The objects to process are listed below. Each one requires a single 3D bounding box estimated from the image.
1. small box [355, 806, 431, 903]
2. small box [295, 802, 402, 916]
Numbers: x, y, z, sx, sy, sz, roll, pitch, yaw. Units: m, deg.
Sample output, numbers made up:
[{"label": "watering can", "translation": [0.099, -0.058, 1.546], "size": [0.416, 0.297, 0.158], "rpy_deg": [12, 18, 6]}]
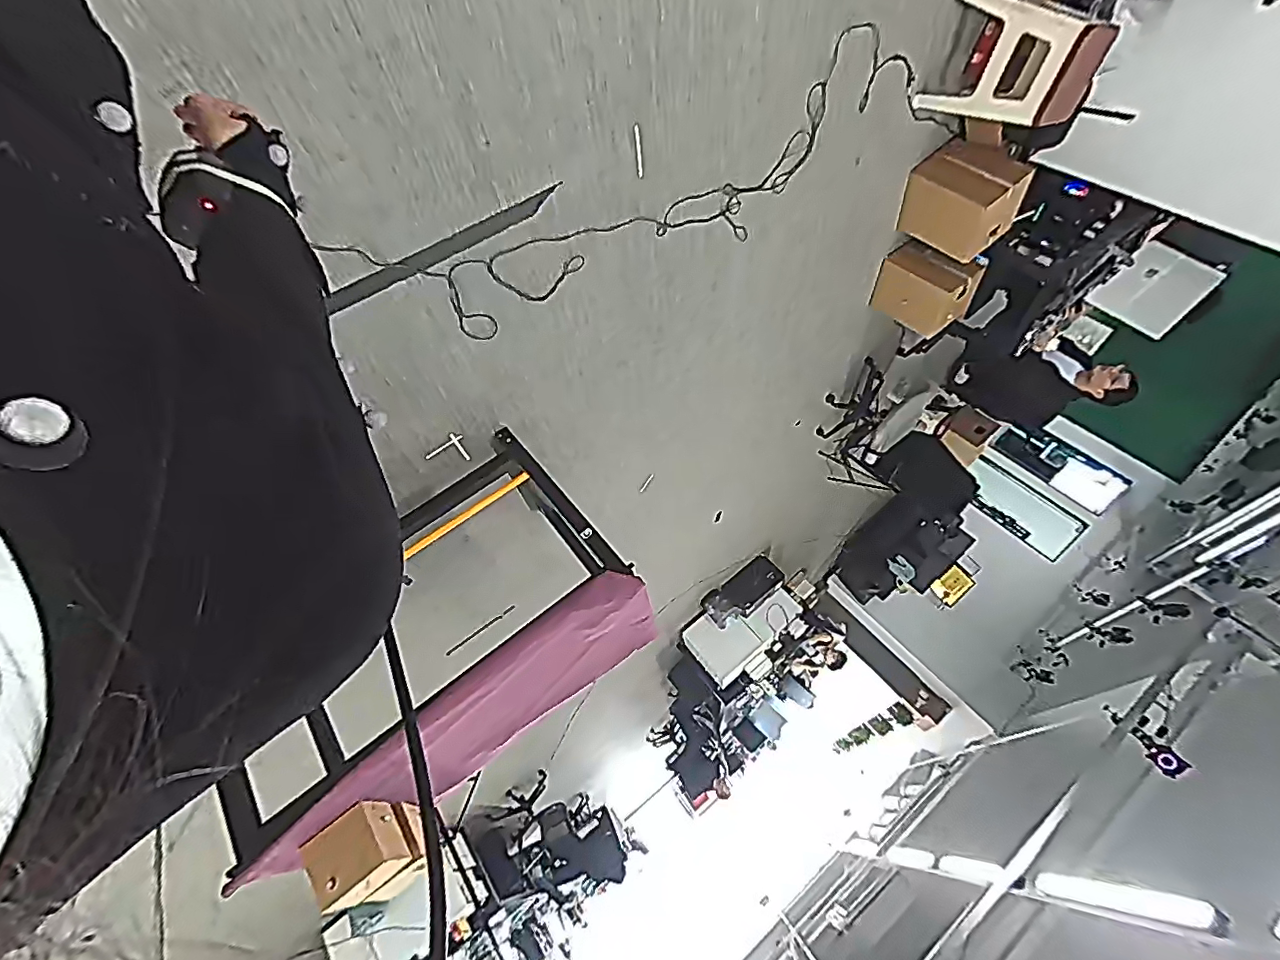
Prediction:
[{"label": "small box", "translation": [-0.753, 1.097, 1.591], "size": [0.179, 0.176, 0.168], "rpy_deg": [-32, 148, -21]}, {"label": "small box", "translation": [-0.772, 0.989, 1.423], "size": [0.179, 0.176, 0.168], "rpy_deg": [-36, 152, -18]}]
